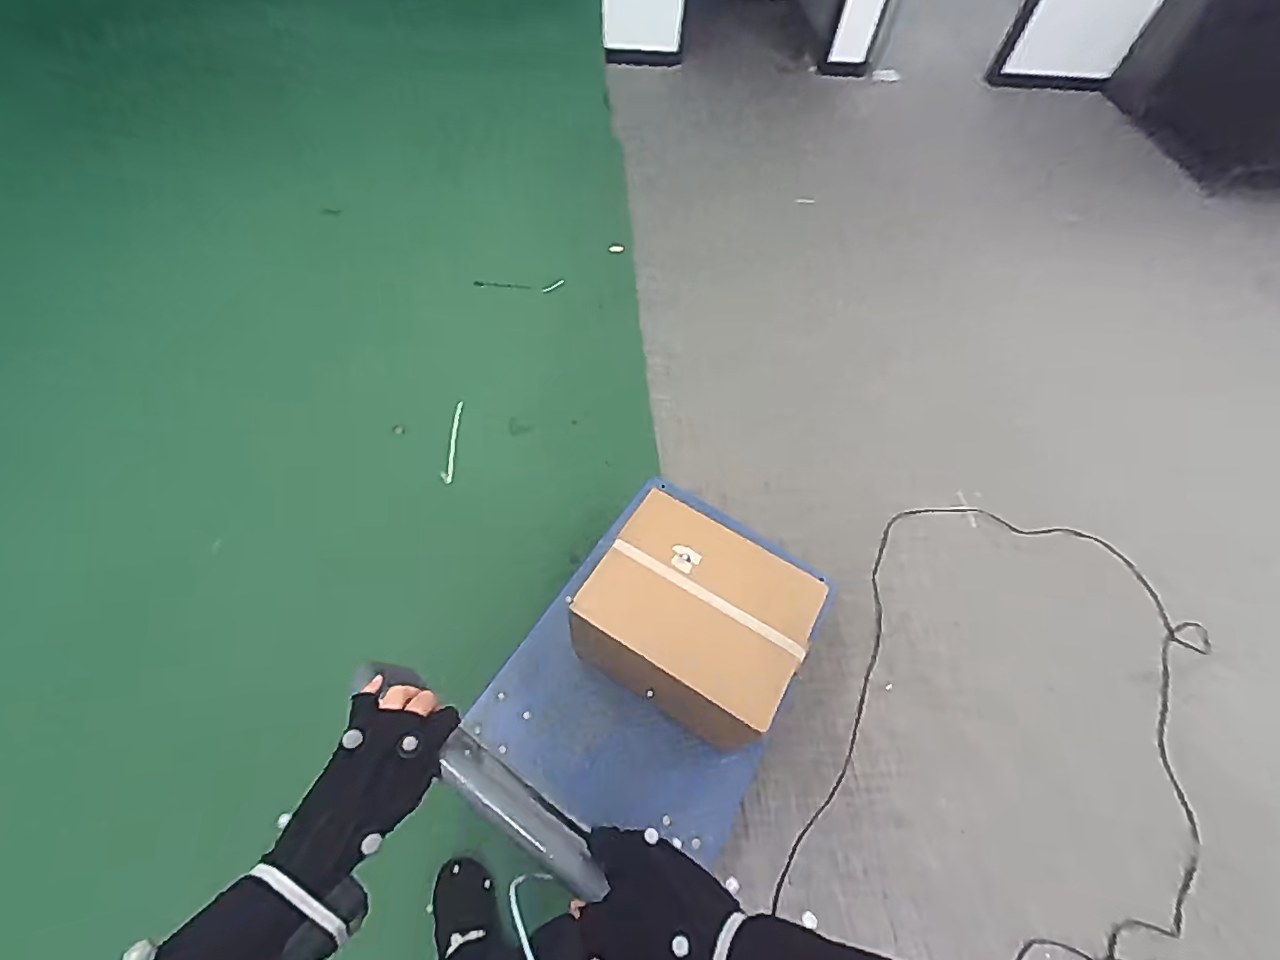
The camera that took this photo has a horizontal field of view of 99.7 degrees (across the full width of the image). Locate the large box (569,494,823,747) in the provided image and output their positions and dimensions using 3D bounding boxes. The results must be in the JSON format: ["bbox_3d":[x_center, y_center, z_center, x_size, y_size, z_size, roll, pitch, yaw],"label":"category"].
[{"bbox_3d":[0.106,0.305,1.152,0.408,0.320,0.320,29,59,14],"label":"large box"}]
